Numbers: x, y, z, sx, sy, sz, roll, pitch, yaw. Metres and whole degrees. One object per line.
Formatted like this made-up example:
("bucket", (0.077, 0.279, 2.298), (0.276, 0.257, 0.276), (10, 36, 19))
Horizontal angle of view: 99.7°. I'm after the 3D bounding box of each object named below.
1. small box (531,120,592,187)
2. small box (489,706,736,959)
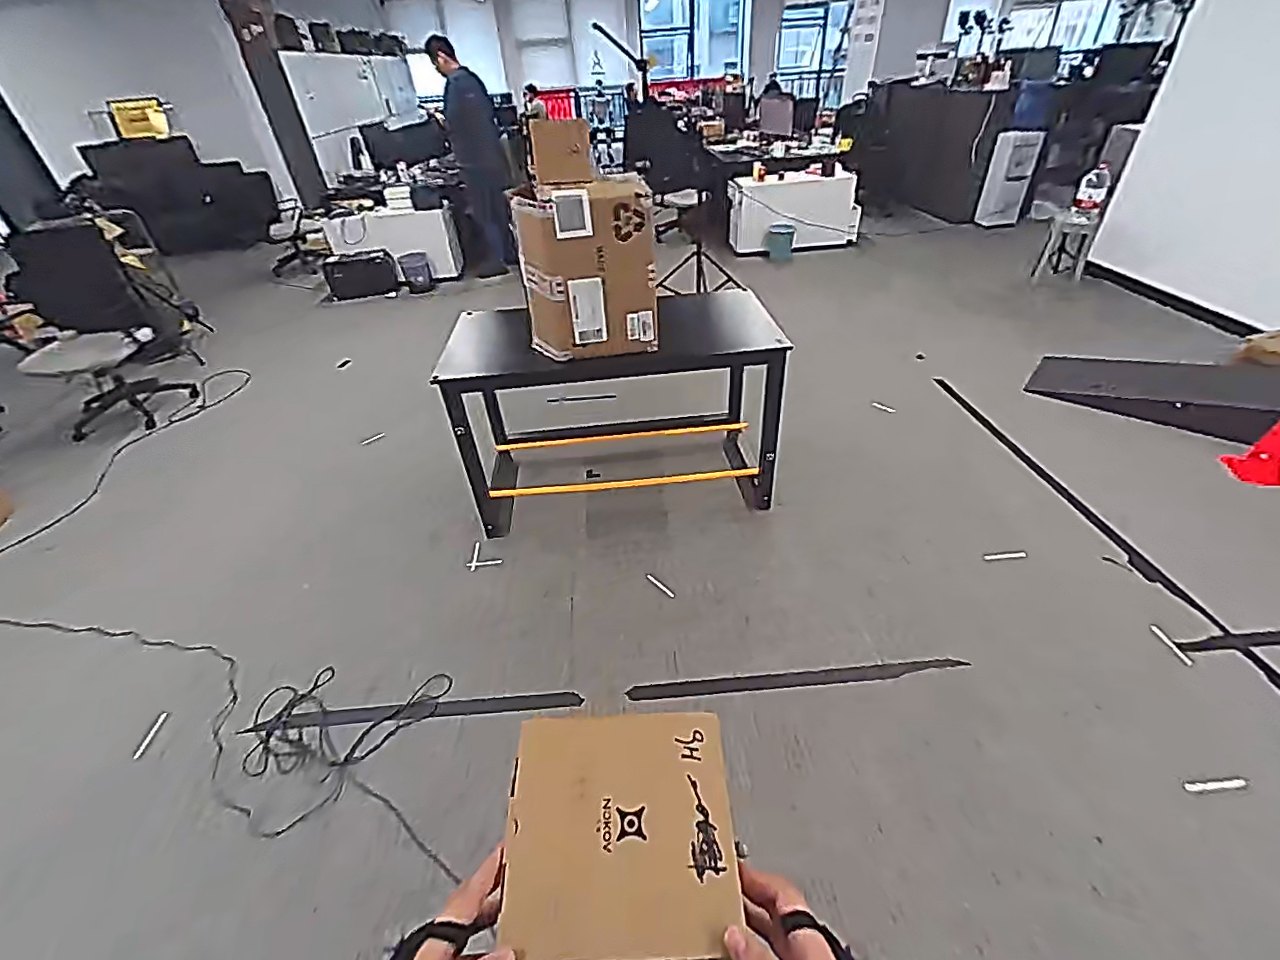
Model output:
("small box", (-0.246, -1.041, 1.721), (0.179, 0.176, 0.168), (-7, 34, -5))
("small box", (-0.019, 0.321, 0.484), (0.179, 0.176, 0.168), (-2, 45, -1))
